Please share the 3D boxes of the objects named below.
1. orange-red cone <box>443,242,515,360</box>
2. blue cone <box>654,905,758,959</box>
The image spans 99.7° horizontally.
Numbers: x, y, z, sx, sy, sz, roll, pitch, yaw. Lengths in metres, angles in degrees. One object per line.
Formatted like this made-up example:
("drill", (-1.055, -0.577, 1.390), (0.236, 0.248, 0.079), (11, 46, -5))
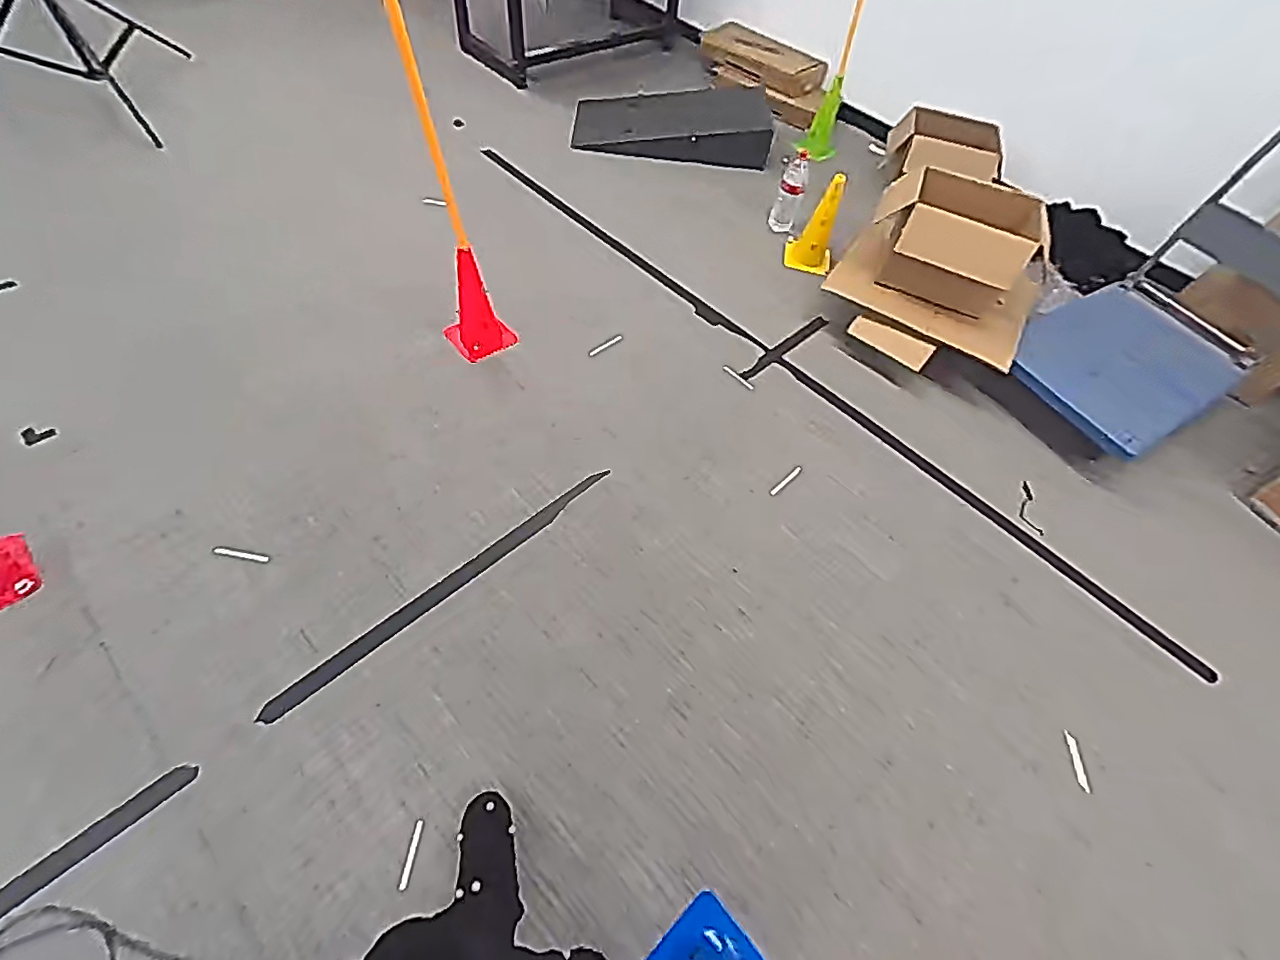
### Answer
("orange-red cone", (-0.547, -0.605, 1.760), (0.199, 0.360, 0.198), (-34, 67, -25))
("blue cone", (0.147, 0.881, 0.912), (0.192, 0.380, 0.193), (-34, 67, -24))
